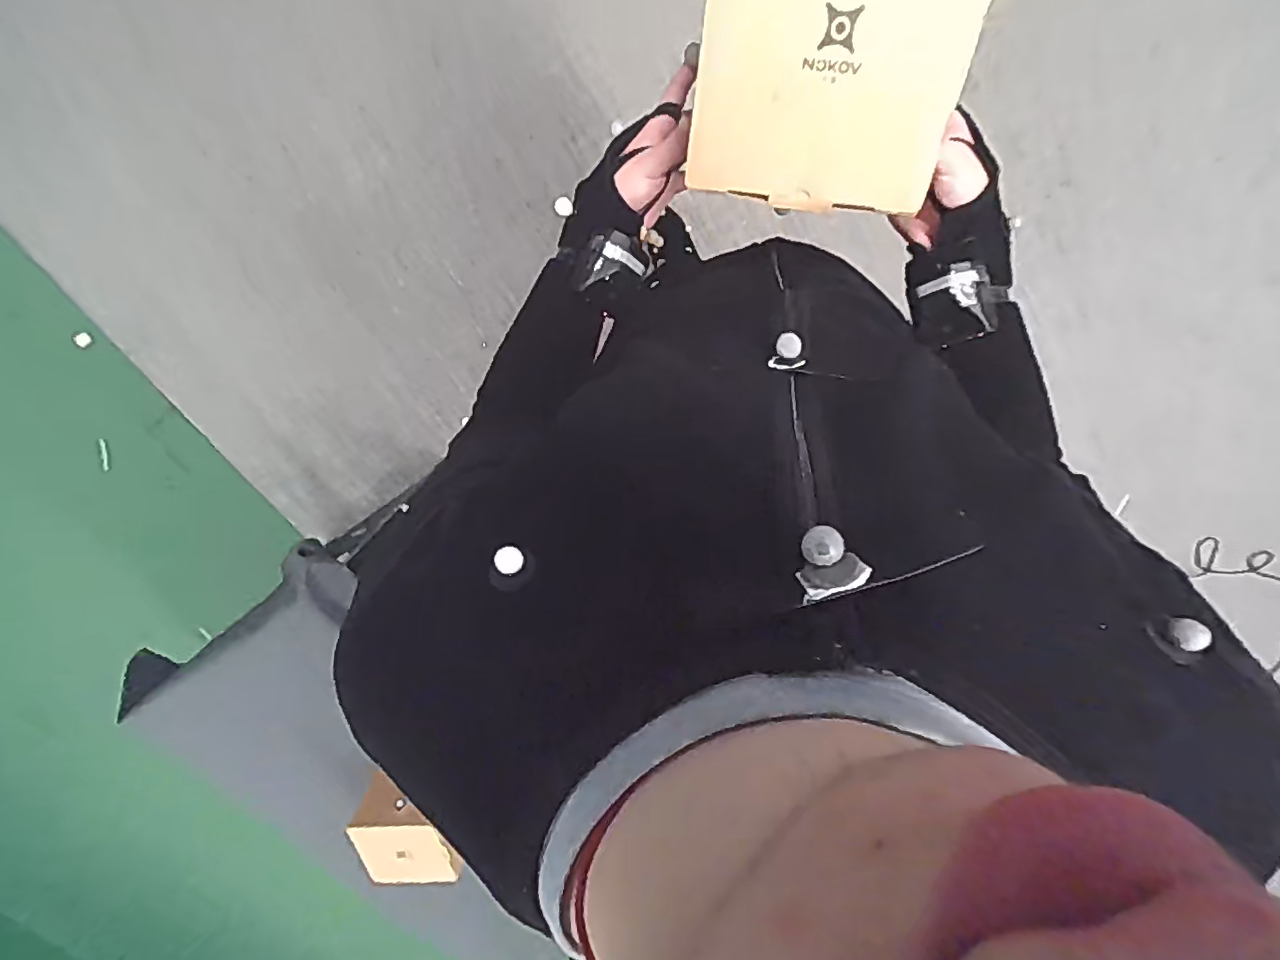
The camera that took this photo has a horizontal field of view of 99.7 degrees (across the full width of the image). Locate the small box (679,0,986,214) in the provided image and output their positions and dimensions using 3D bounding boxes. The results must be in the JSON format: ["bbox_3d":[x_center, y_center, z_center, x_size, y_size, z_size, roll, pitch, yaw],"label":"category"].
[{"bbox_3d":[0.125,-0.311,0.394,0.168,0.176,0.179,8,124,1],"label":"small box"}]

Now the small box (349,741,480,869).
[{"bbox_3d":[-0.445,0.659,1.106,0.179,0.176,0.168,-6,114,8],"label":"small box"}]
